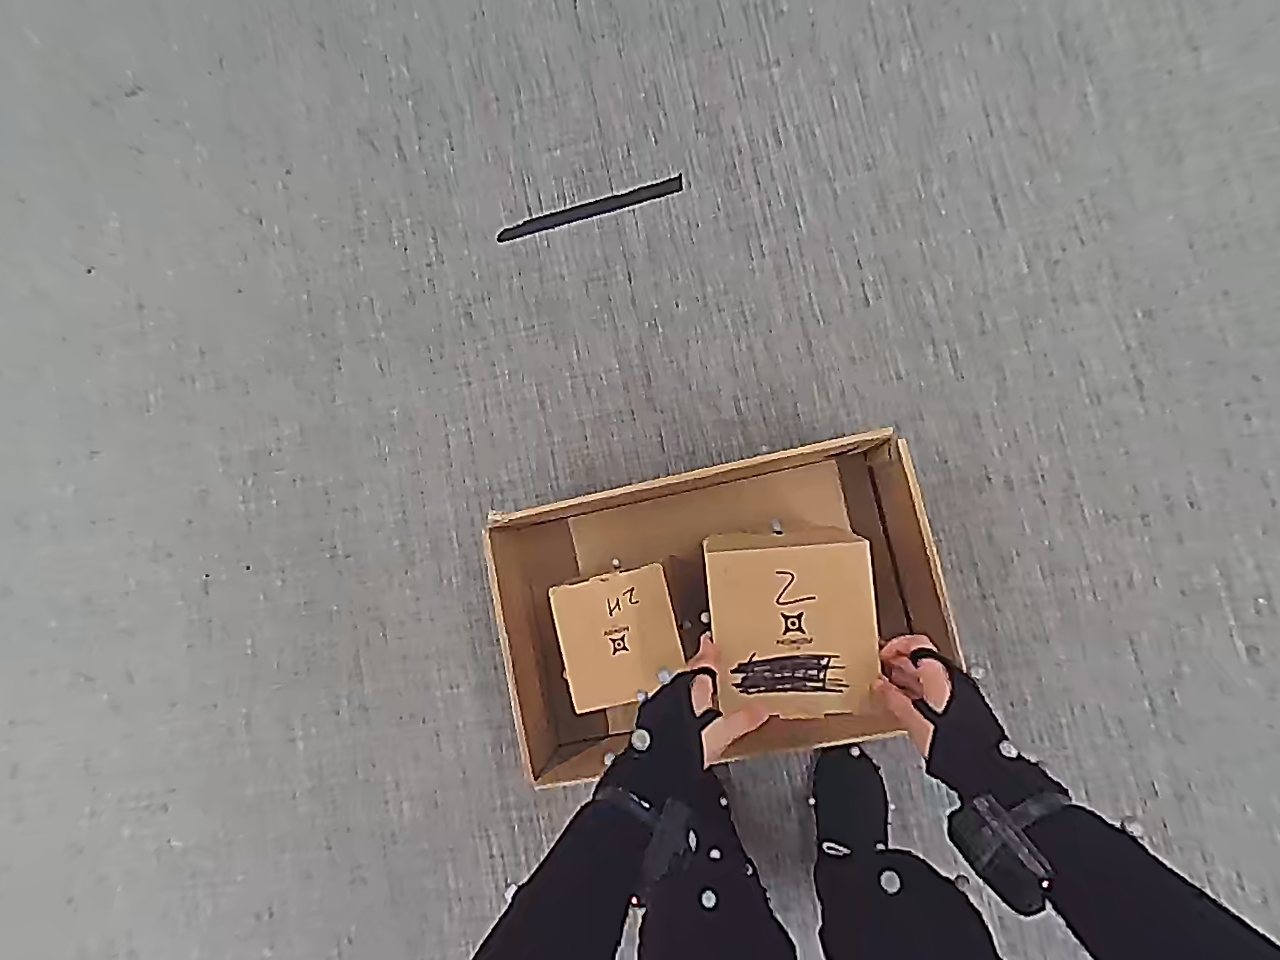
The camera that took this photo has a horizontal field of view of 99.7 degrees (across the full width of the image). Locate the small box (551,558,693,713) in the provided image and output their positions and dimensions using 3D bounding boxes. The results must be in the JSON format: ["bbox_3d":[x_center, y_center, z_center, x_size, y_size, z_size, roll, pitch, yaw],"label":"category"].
[{"bbox_3d":[-0.018,0.223,0.816,0.168,0.176,0.179,-14,83,5],"label":"small box"}]

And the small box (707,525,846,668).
[{"bbox_3d":[0.190,0.160,0.793,0.168,0.176,0.179,-8,86,9],"label":"small box"}]
